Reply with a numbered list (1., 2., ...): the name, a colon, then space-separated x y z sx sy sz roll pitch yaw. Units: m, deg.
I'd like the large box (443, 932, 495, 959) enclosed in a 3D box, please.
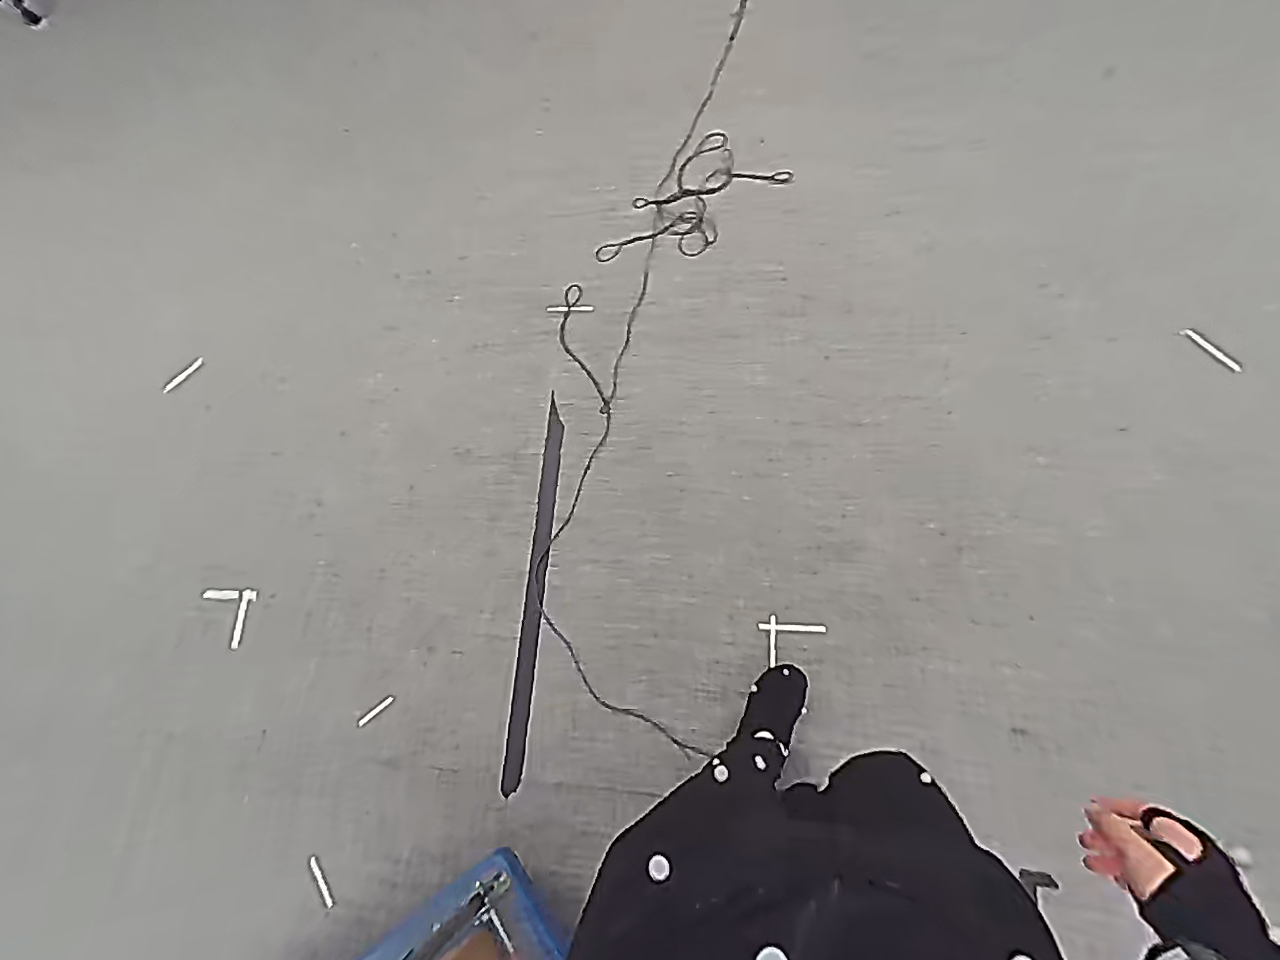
1. large box: -0.339 1.079 0.854 0.320 0.320 0.408 -37 71 -3
